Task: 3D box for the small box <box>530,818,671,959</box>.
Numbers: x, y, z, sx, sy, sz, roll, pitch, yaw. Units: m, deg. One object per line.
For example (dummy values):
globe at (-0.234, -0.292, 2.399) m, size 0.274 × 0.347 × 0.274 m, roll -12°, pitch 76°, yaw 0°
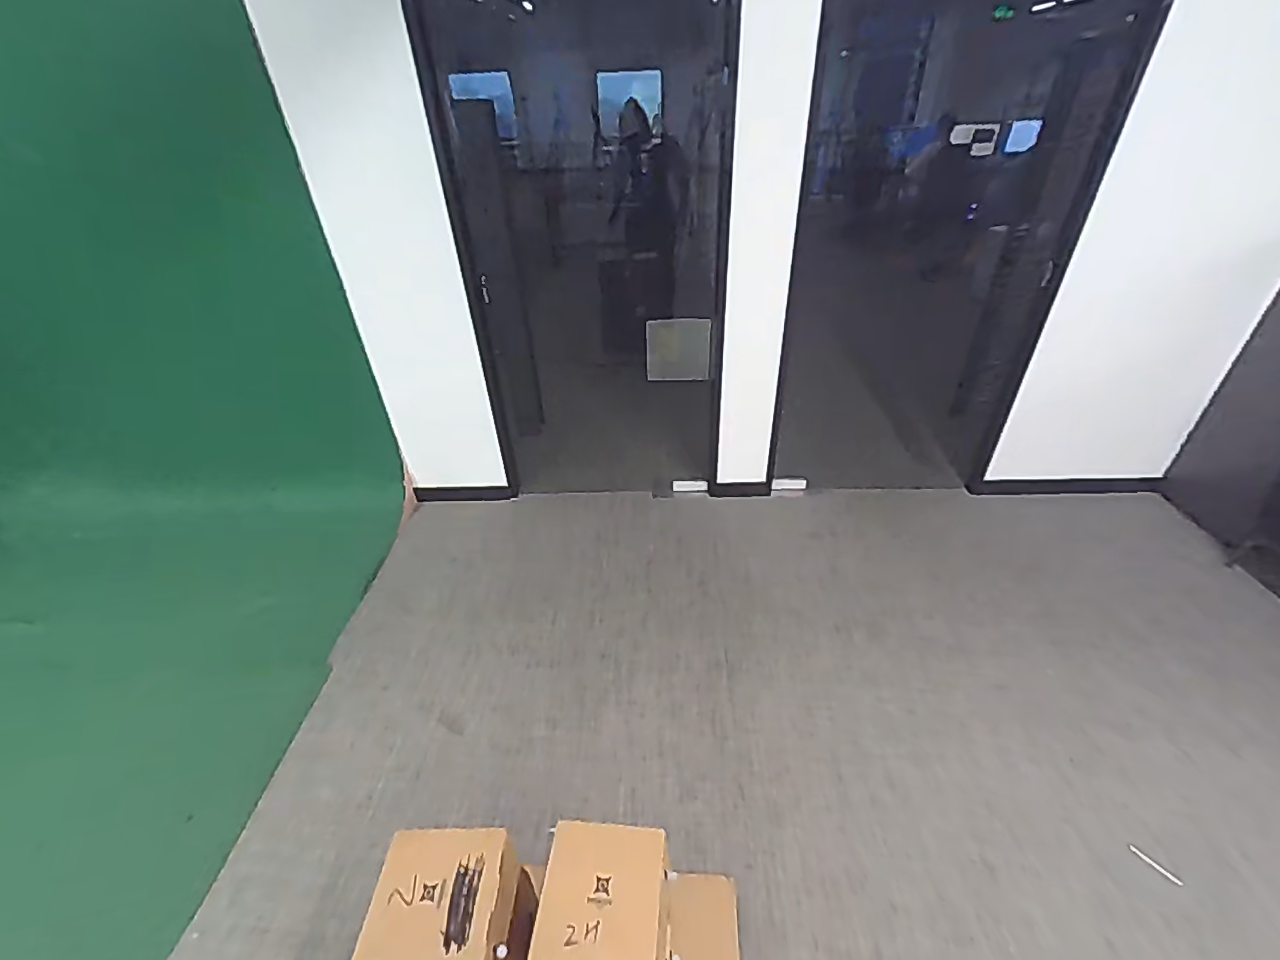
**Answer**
small box at (-0.045, 0.629, 0.785) m, size 0.168 × 0.176 × 0.179 m, roll -1°, pitch 35°, yaw 8°
